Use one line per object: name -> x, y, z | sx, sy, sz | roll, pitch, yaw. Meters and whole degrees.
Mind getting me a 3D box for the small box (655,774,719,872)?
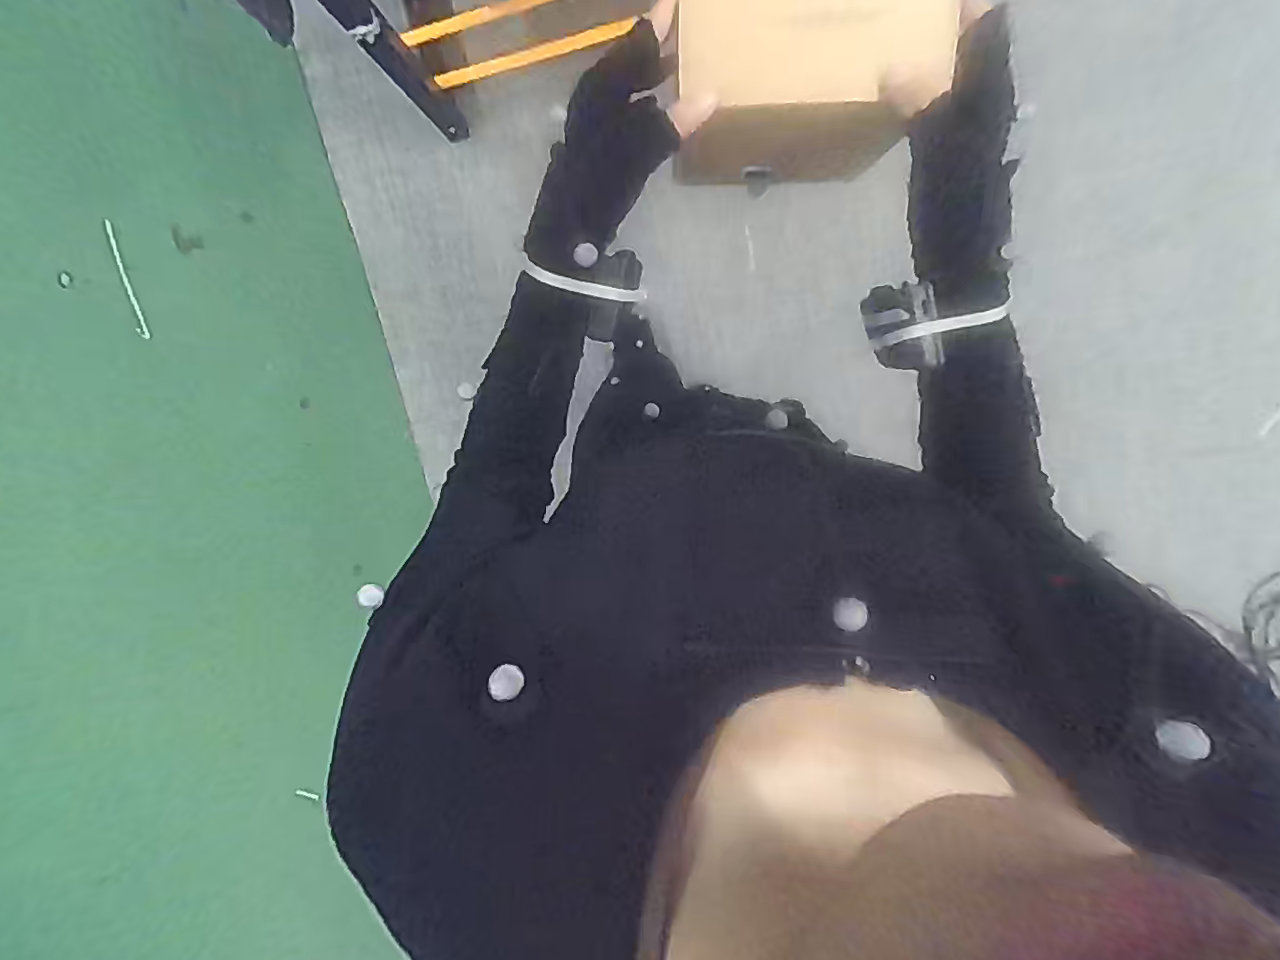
small box -> 0.137, 0.986, 1.563 | 0.168, 0.176, 0.179 | -6, 99, 5
